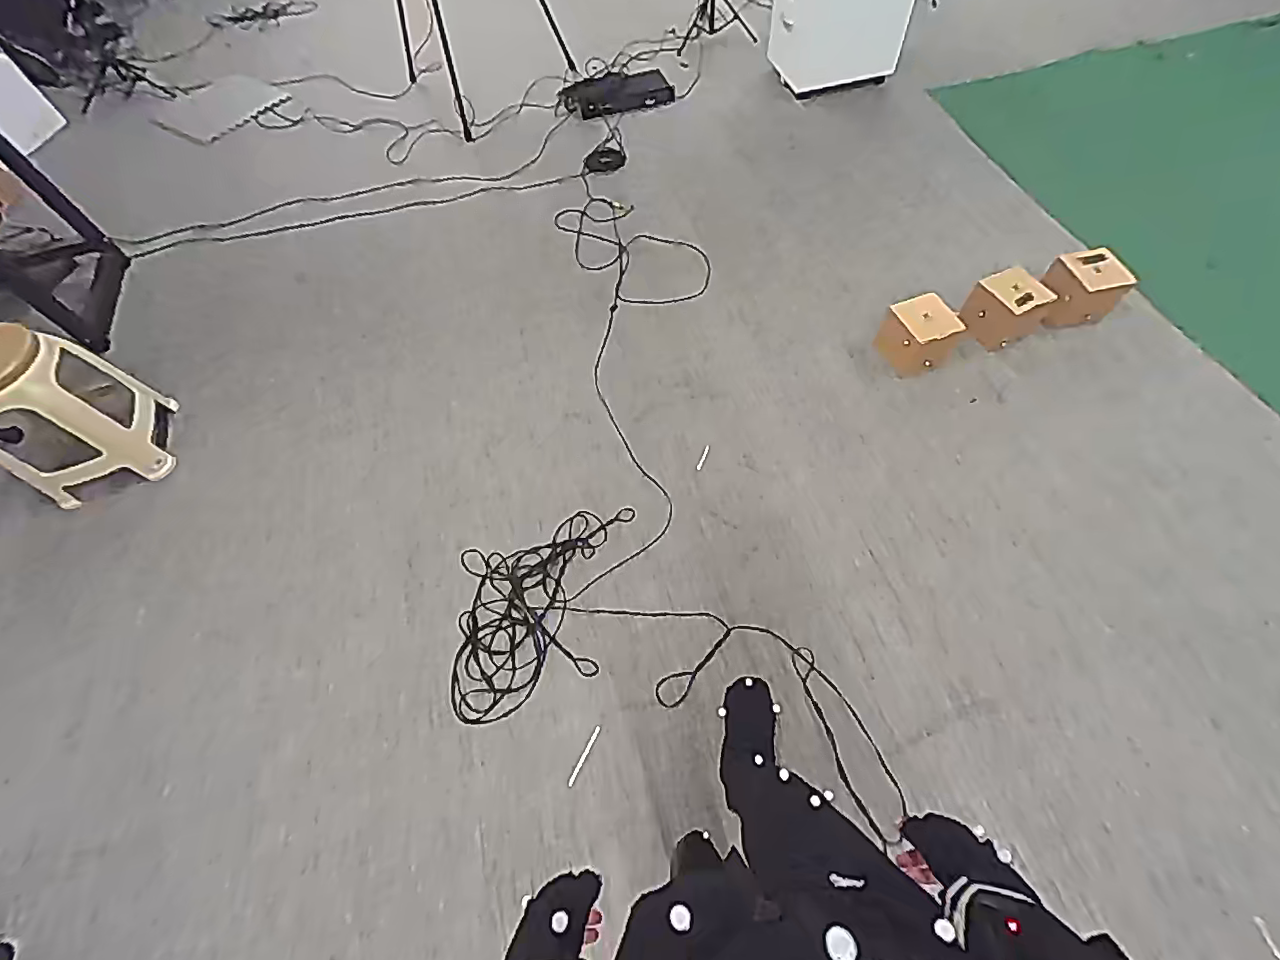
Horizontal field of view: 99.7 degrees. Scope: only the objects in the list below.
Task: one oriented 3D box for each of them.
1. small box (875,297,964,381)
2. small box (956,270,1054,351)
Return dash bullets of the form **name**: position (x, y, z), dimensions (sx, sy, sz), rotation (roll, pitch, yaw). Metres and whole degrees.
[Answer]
- **small box**: position (0.898, -0.456, 1.760), dimensions (0.168, 0.176, 0.179), rotation (-19, 61, -6)
- **small box**: position (1.199, -0.553, 1.793), dimensions (0.168, 0.176, 0.179), rotation (-22, 60, -9)
